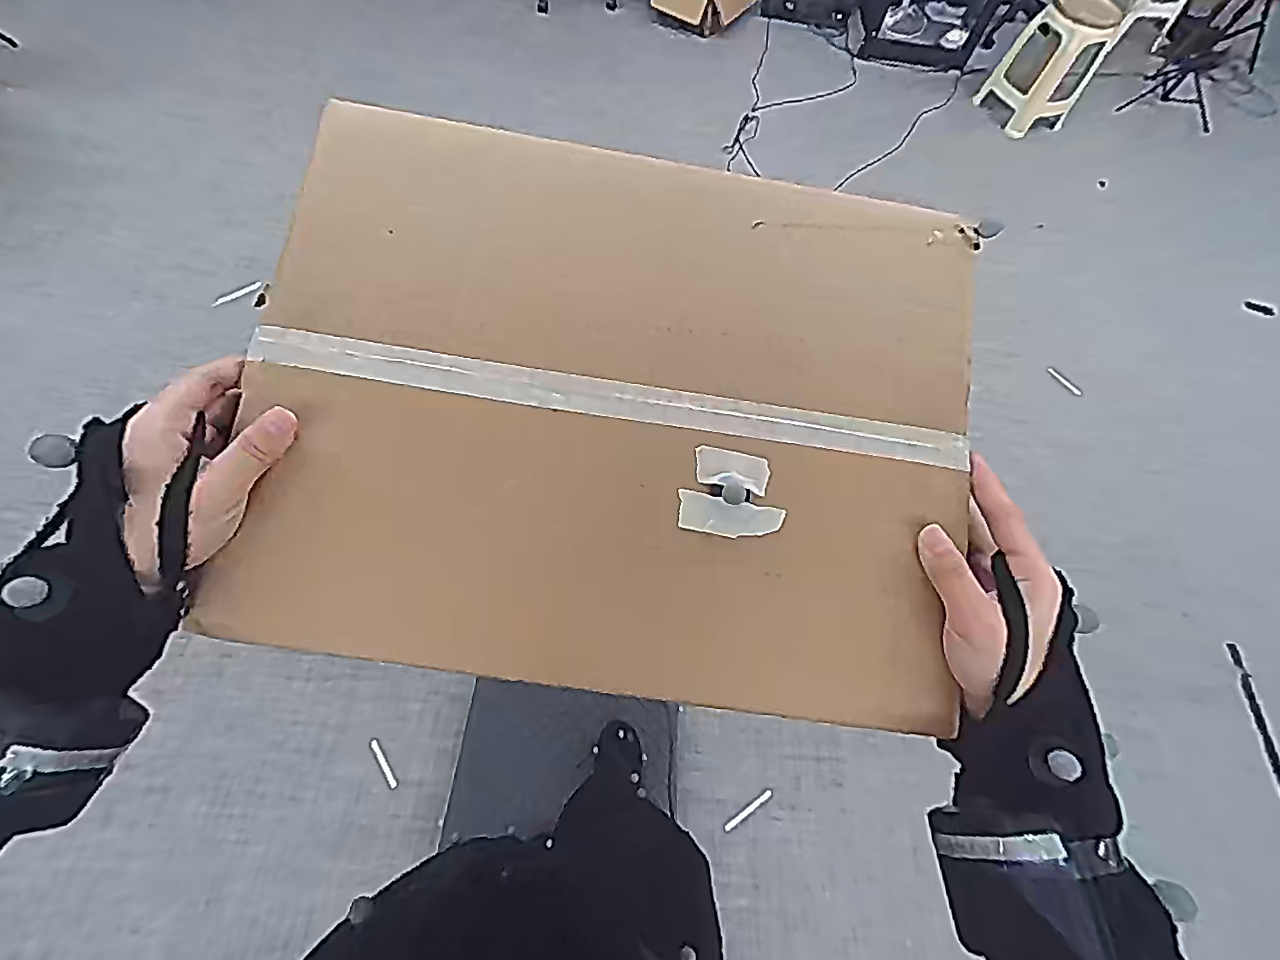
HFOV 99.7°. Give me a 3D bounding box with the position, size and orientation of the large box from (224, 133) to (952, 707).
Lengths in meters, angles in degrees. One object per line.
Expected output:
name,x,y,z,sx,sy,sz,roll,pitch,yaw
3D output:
large box,-0.021,-0.020,0.470,0.408,0.320,0.320,9,81,-3
